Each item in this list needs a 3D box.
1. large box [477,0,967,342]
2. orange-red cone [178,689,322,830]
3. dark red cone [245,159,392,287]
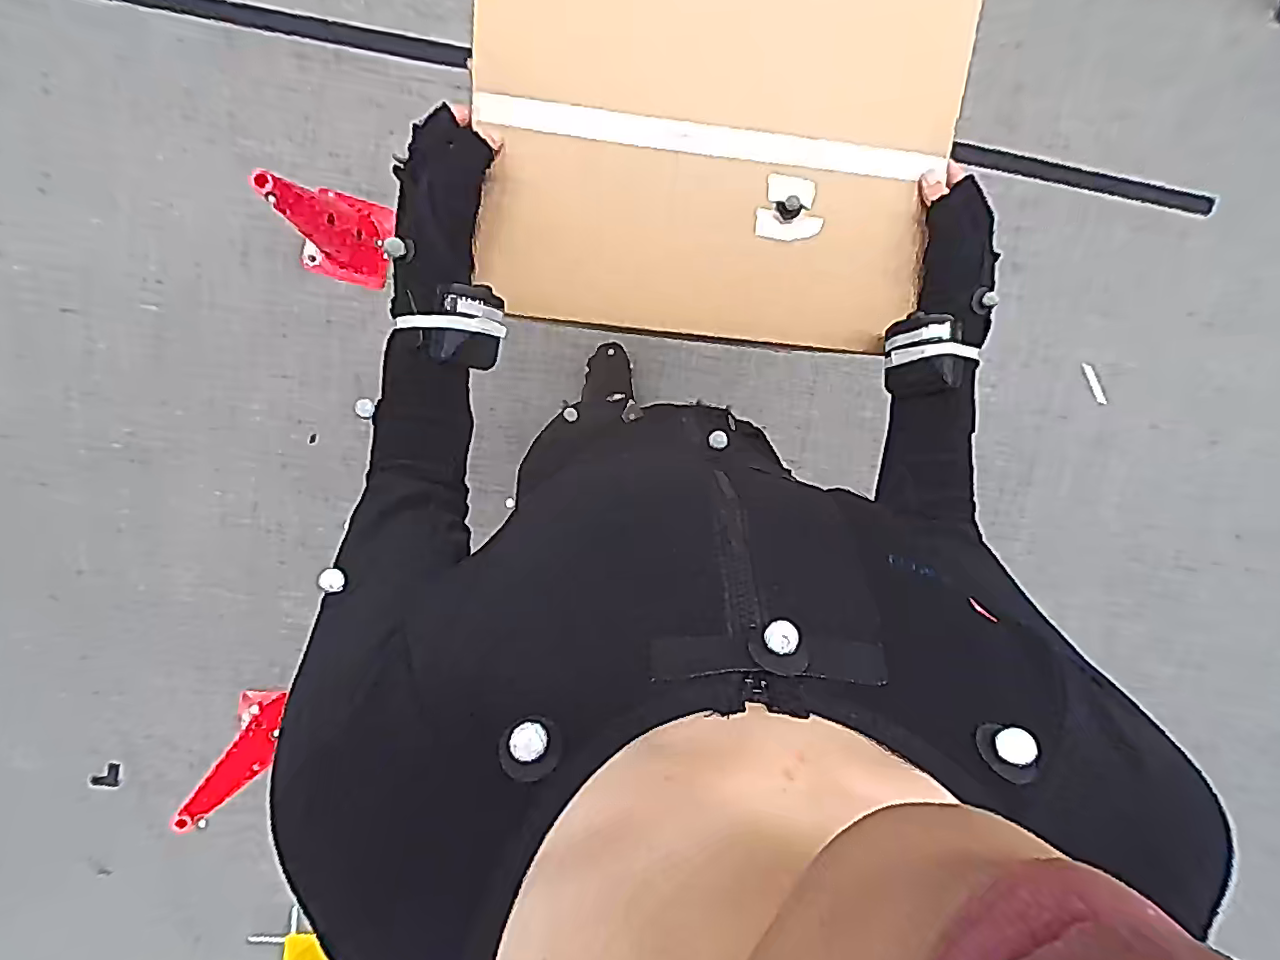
[{"bbox_3d":[0.052,-0.330,0.603,0.408,0.320,0.320,5,105,-6],"label":"large box"},{"bbox_3d":[-0.963,0.697,1.311,0.198,0.360,0.199,6,99,-4],"label":"orange-red cone"},{"bbox_3d":[-0.693,-0.563,1.135,0.201,0.394,0.202,14,97,-7],"label":"dark red cone"}]
